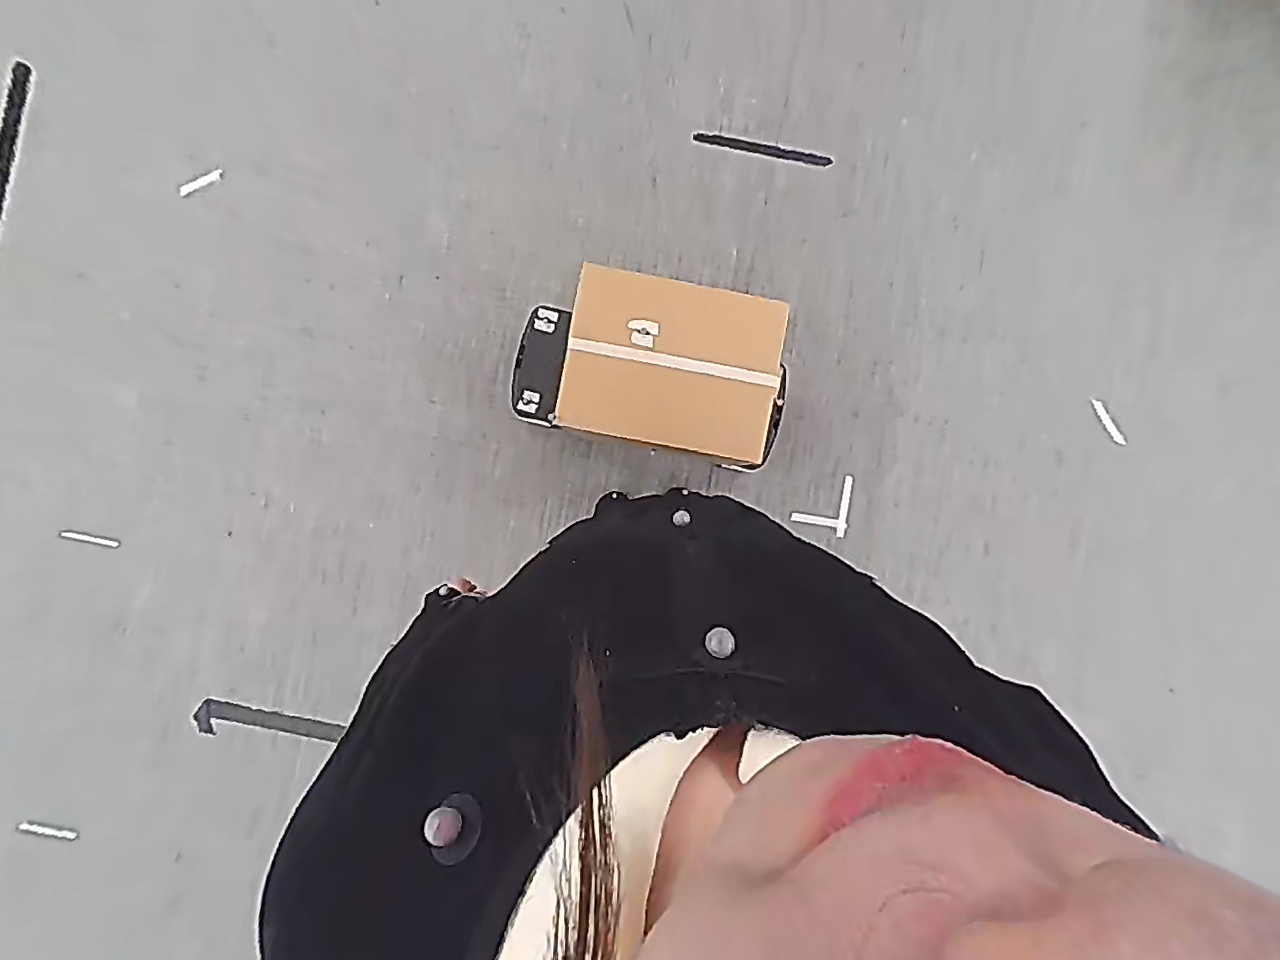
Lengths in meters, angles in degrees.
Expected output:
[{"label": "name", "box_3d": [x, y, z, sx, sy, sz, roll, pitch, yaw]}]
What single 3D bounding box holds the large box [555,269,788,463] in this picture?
[{"label": "large box", "box_3d": [0.061, -0.216, 1.163, 0.408, 0.320, 0.320, 11, 90, 0]}]
